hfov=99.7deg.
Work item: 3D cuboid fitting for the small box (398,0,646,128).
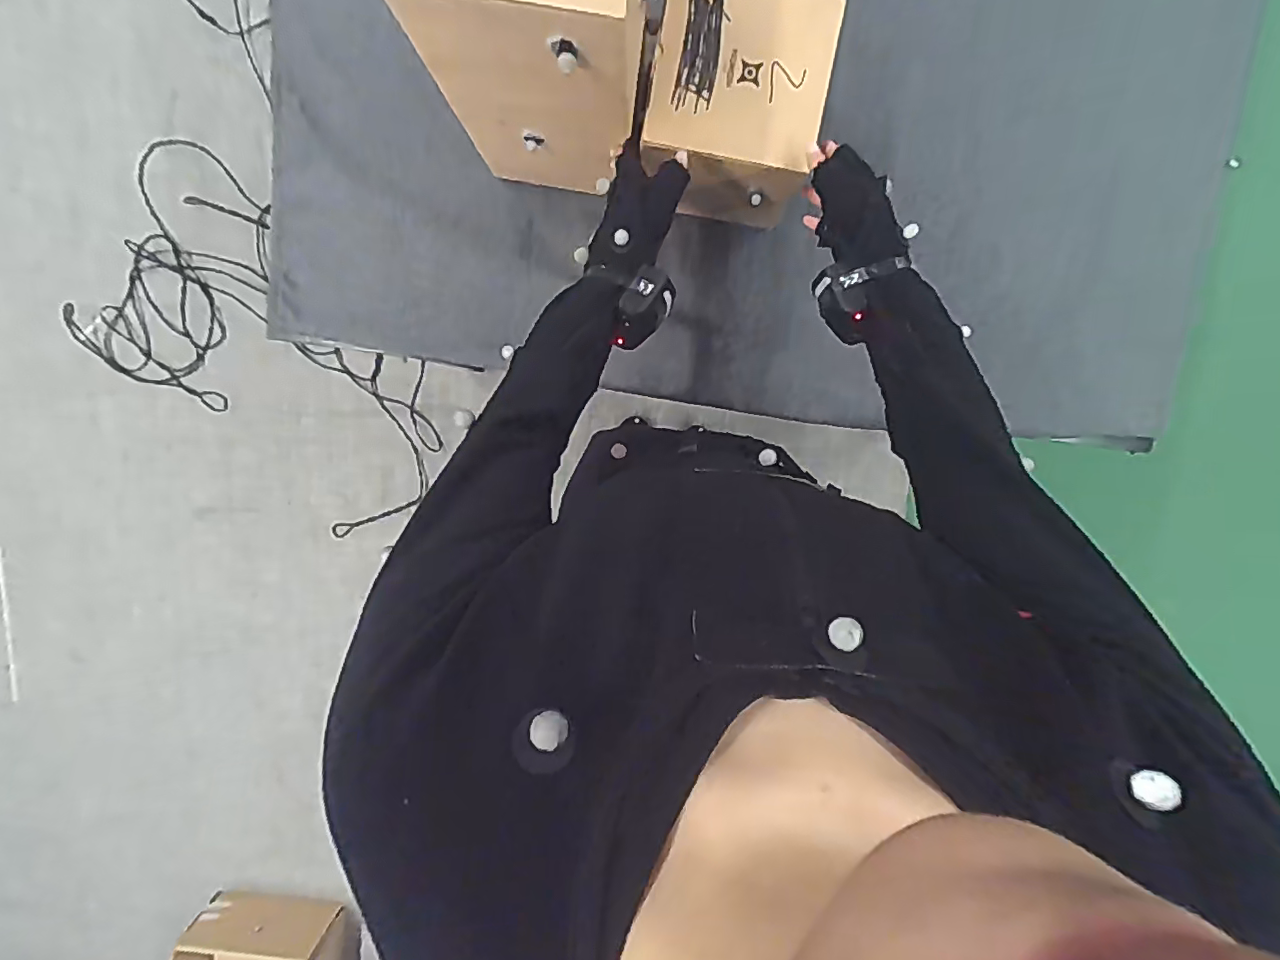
[{"bbox_3d":[-0.082,-0.425,0.446,0.179,0.176,0.168,8,96,-2],"label":"small box"}]
